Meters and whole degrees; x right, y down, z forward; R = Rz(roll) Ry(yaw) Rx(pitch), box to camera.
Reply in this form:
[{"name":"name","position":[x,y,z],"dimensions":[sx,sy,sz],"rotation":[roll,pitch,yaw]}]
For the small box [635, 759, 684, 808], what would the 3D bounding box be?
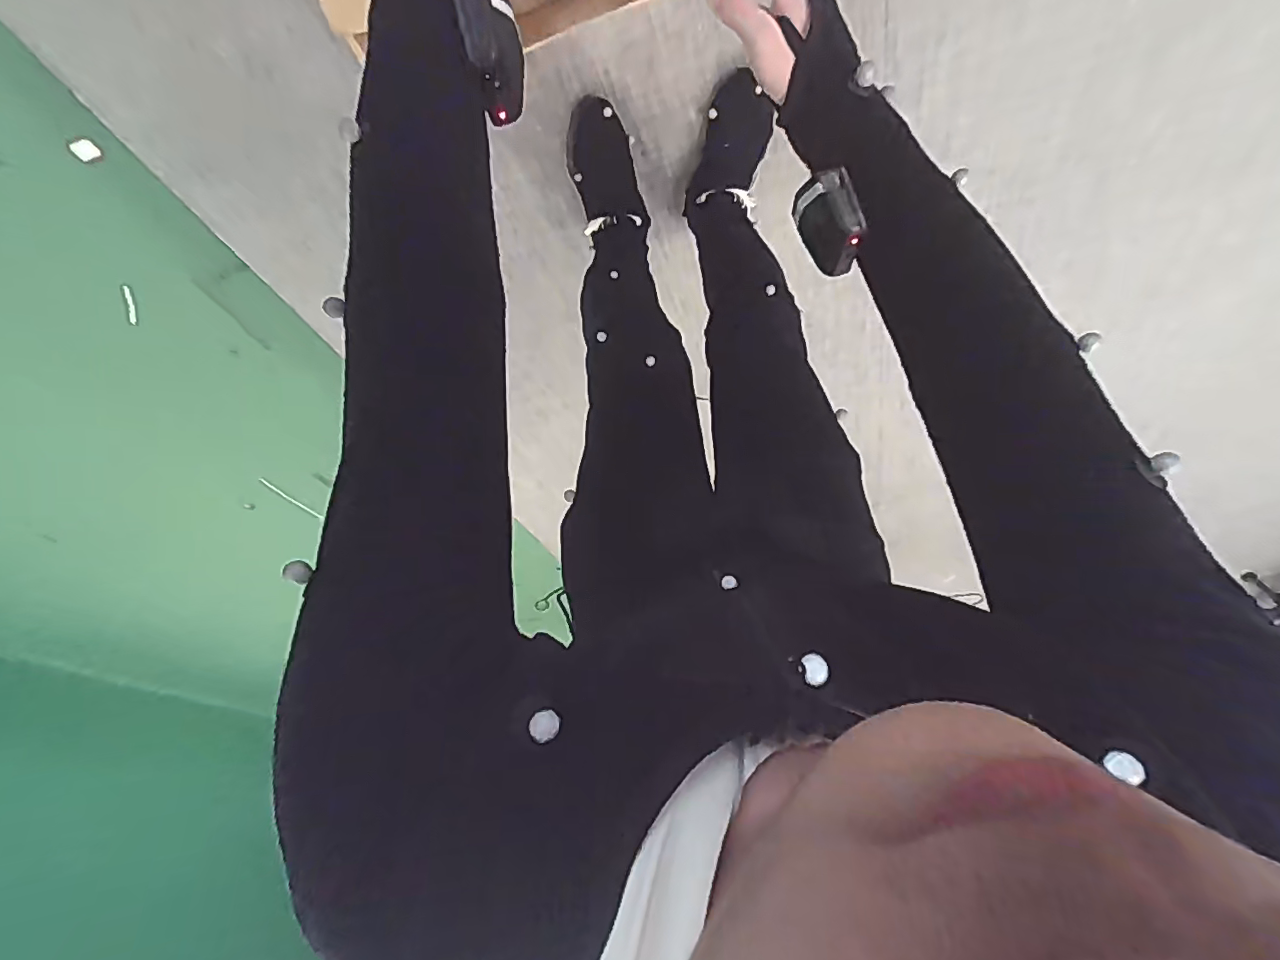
[{"name":"small box","position":[0.086,1.323,2.356],"dimensions":[0.168,0.176,0.179],"rotation":[-15,143,15]}]
